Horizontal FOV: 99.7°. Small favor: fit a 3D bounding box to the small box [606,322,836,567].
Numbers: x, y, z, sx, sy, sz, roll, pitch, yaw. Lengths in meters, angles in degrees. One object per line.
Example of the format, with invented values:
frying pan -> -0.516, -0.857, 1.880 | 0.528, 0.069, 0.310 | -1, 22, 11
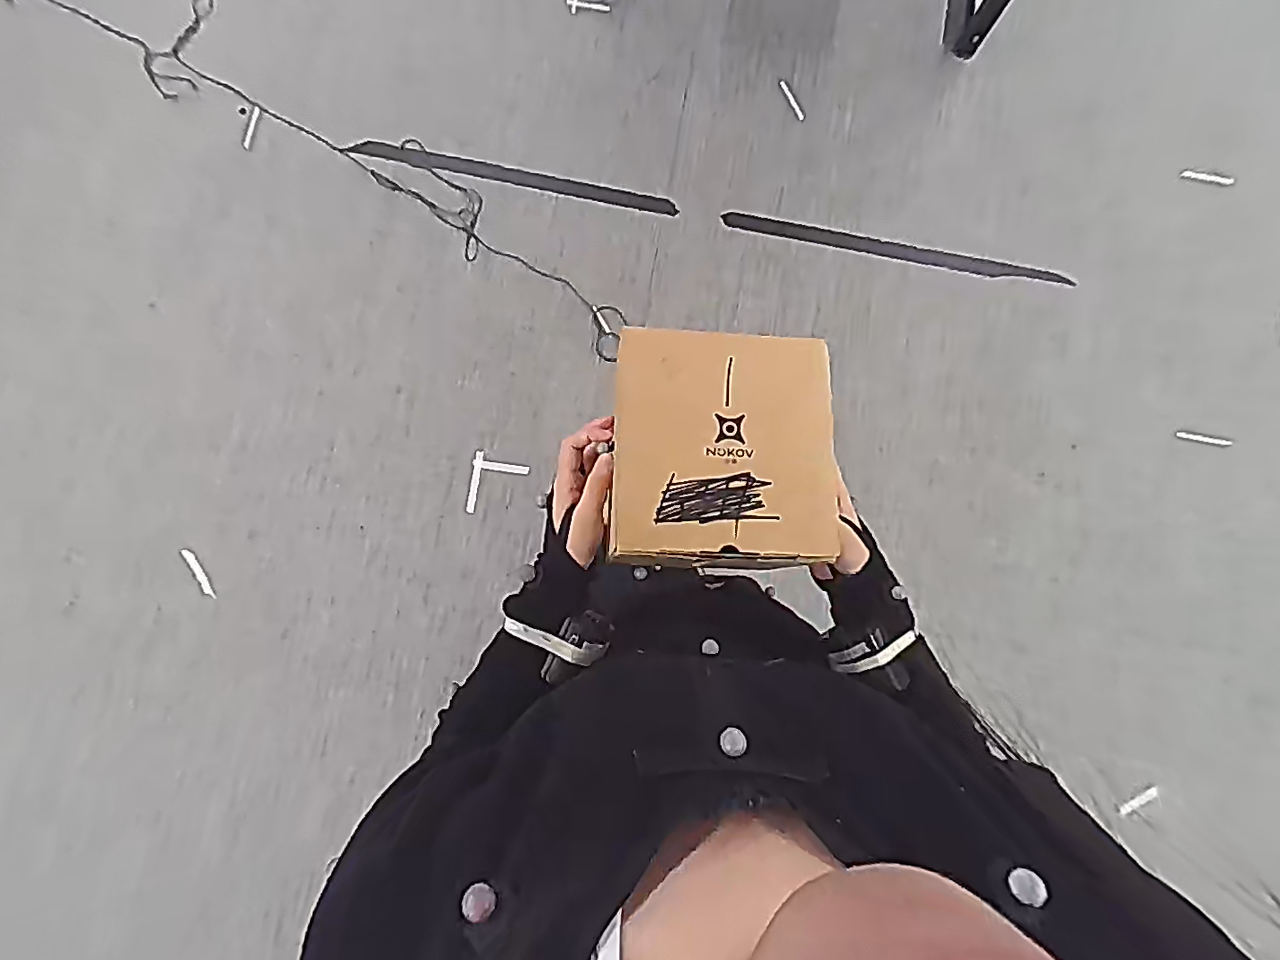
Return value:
small box -> 0.057, -0.016, 0.481 | 0.168, 0.176, 0.179 | 3, 77, -6
